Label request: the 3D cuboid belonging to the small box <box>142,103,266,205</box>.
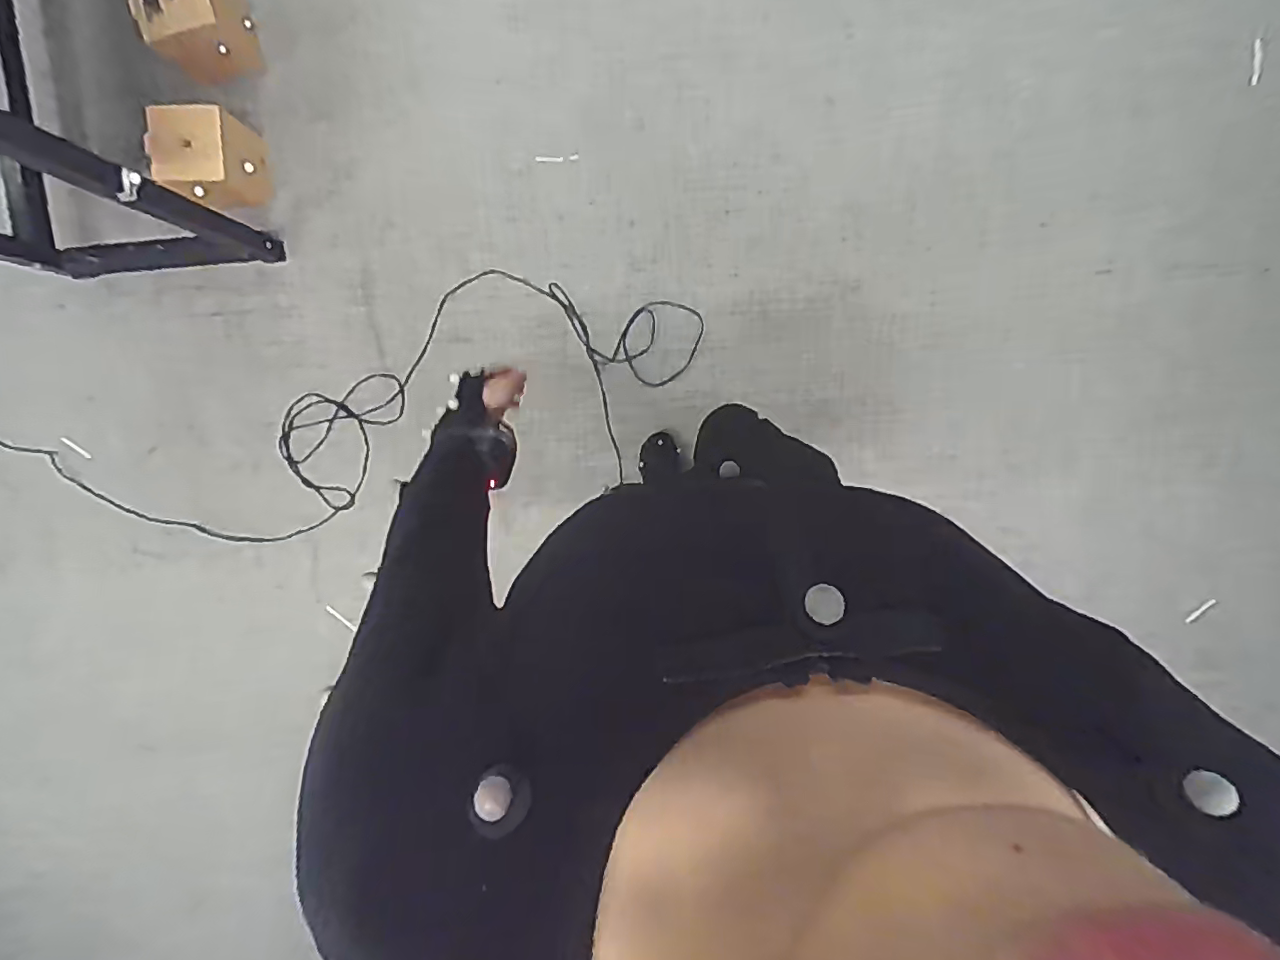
[{"bbox_3d":[-1.053,-0.790,1.324,0.179,0.176,0.168,1,97,1],"label":"small box"}]
